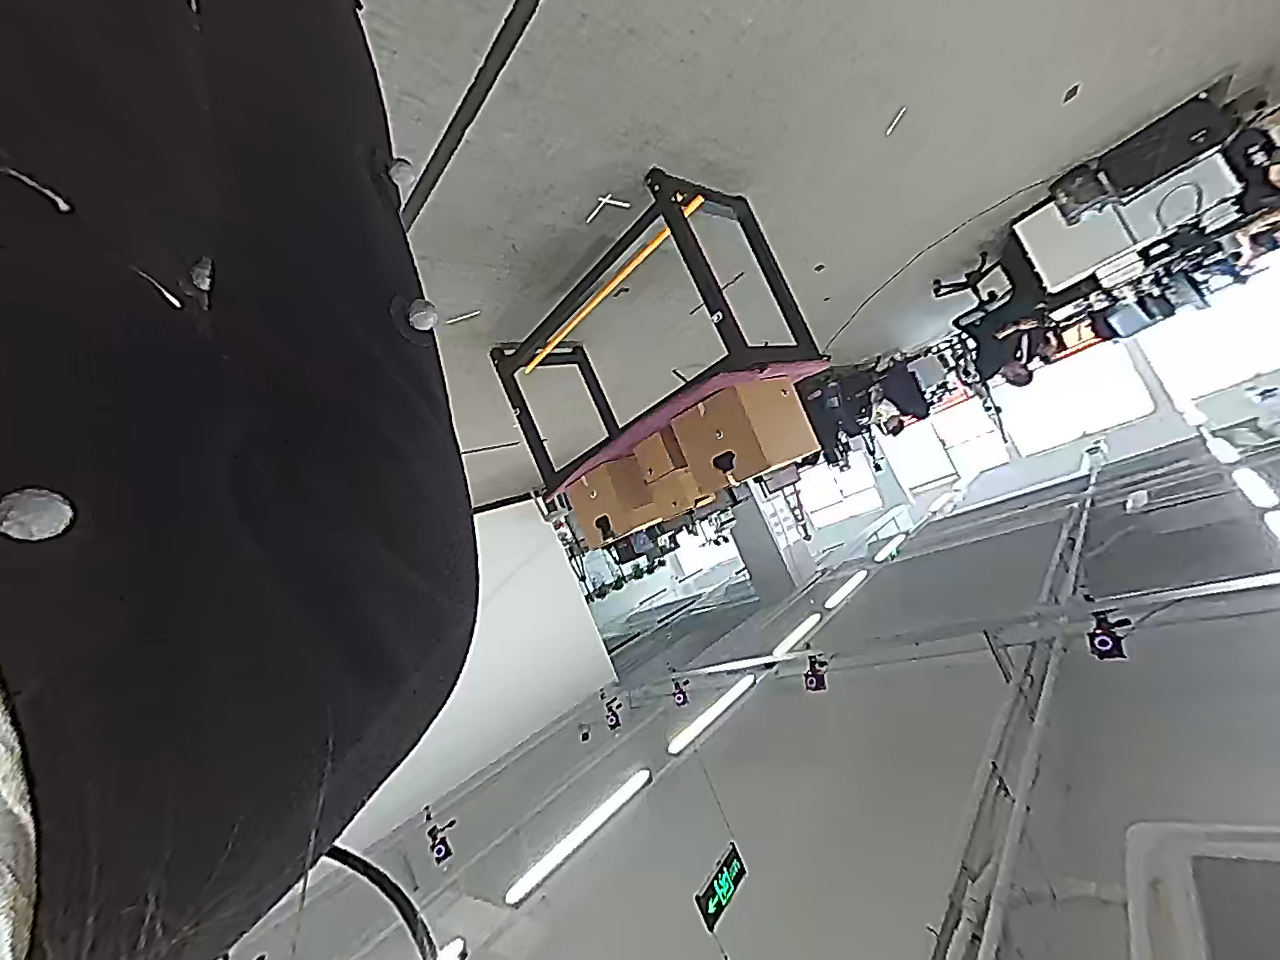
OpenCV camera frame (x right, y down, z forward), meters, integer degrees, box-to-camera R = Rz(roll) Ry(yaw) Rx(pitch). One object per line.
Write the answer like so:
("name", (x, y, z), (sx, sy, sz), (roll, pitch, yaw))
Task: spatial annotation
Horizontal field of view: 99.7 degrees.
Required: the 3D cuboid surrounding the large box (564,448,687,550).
("large box", (-0.068, 0.080, 2.469), (0.320, 0.320, 0.408), (-29, 173, 42))
